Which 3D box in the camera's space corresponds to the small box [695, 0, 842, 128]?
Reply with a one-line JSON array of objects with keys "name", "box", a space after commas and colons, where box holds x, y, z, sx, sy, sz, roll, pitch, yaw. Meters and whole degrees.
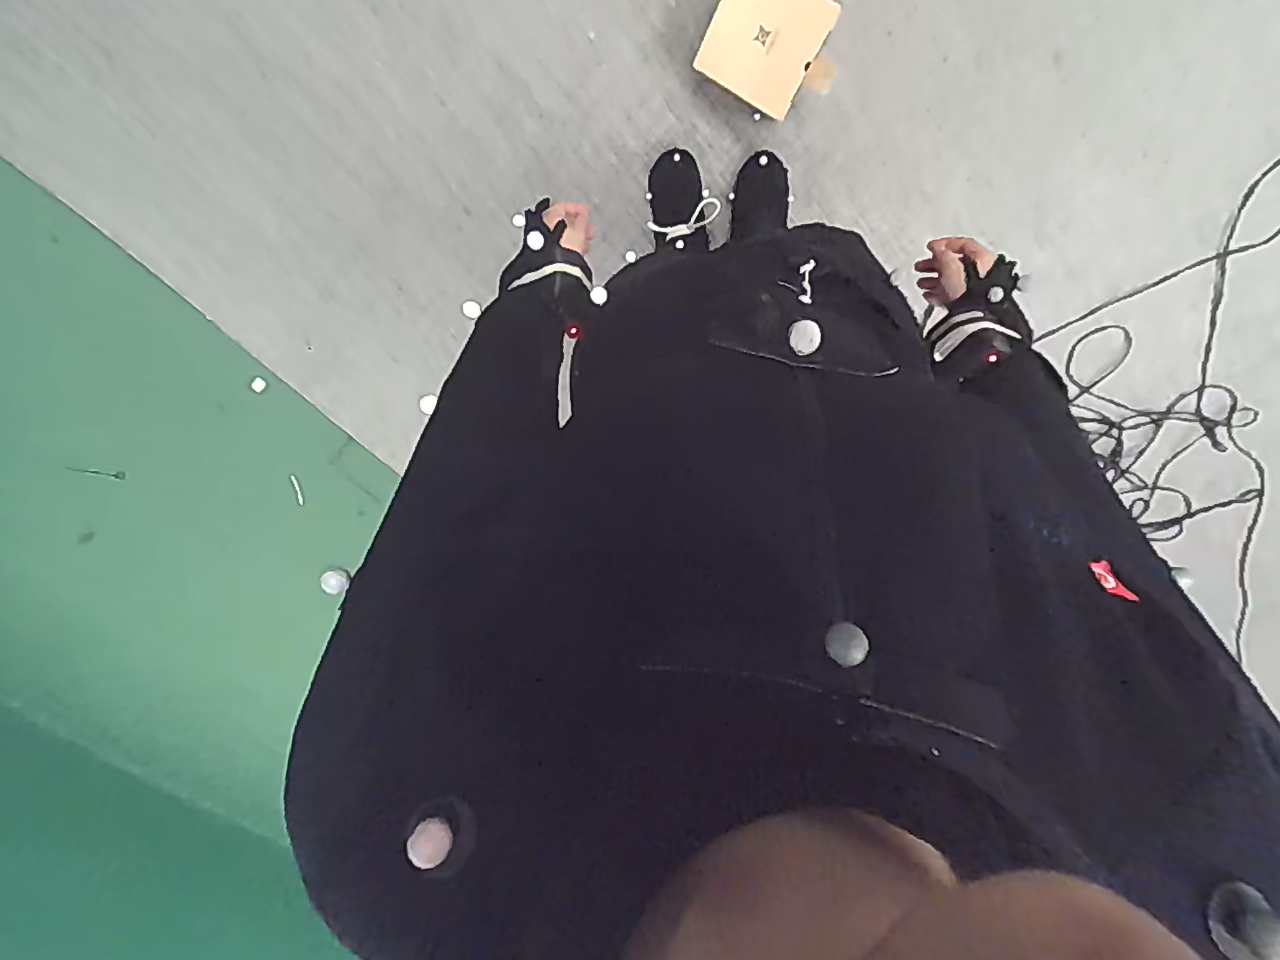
[{"name": "small box", "box": [0.210, -0.733, 0.928, 0.179, 0.176, 0.168, 25, 123, -9]}]
